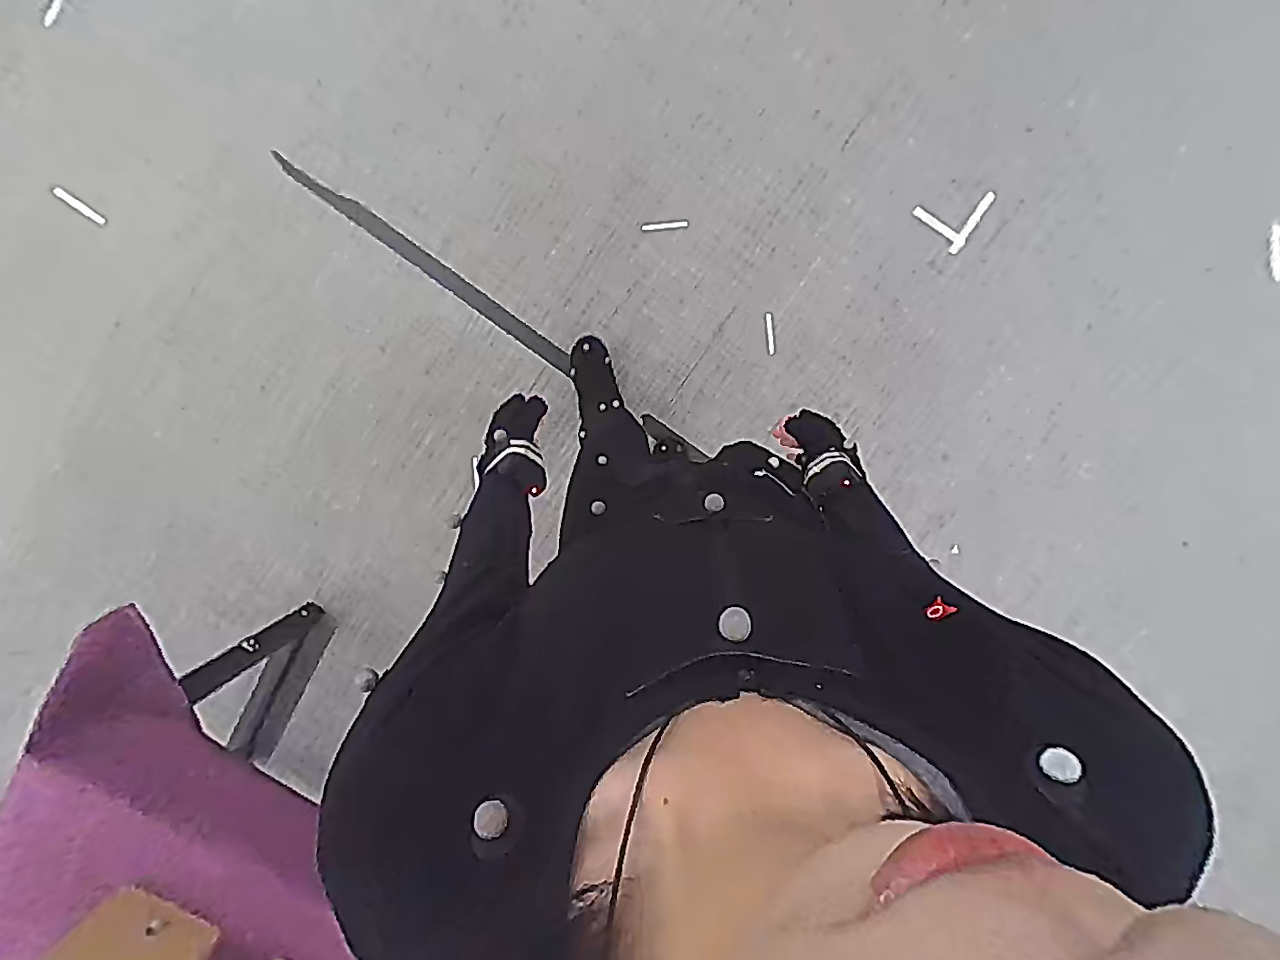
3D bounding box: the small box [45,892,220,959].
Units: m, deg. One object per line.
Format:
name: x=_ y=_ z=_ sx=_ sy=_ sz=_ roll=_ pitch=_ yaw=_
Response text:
small box: x=-0.801 y=0.778 z=0.815 sx=0.179 sy=0.176 sz=0.168 roll=29 pitch=98 yaw=-3
